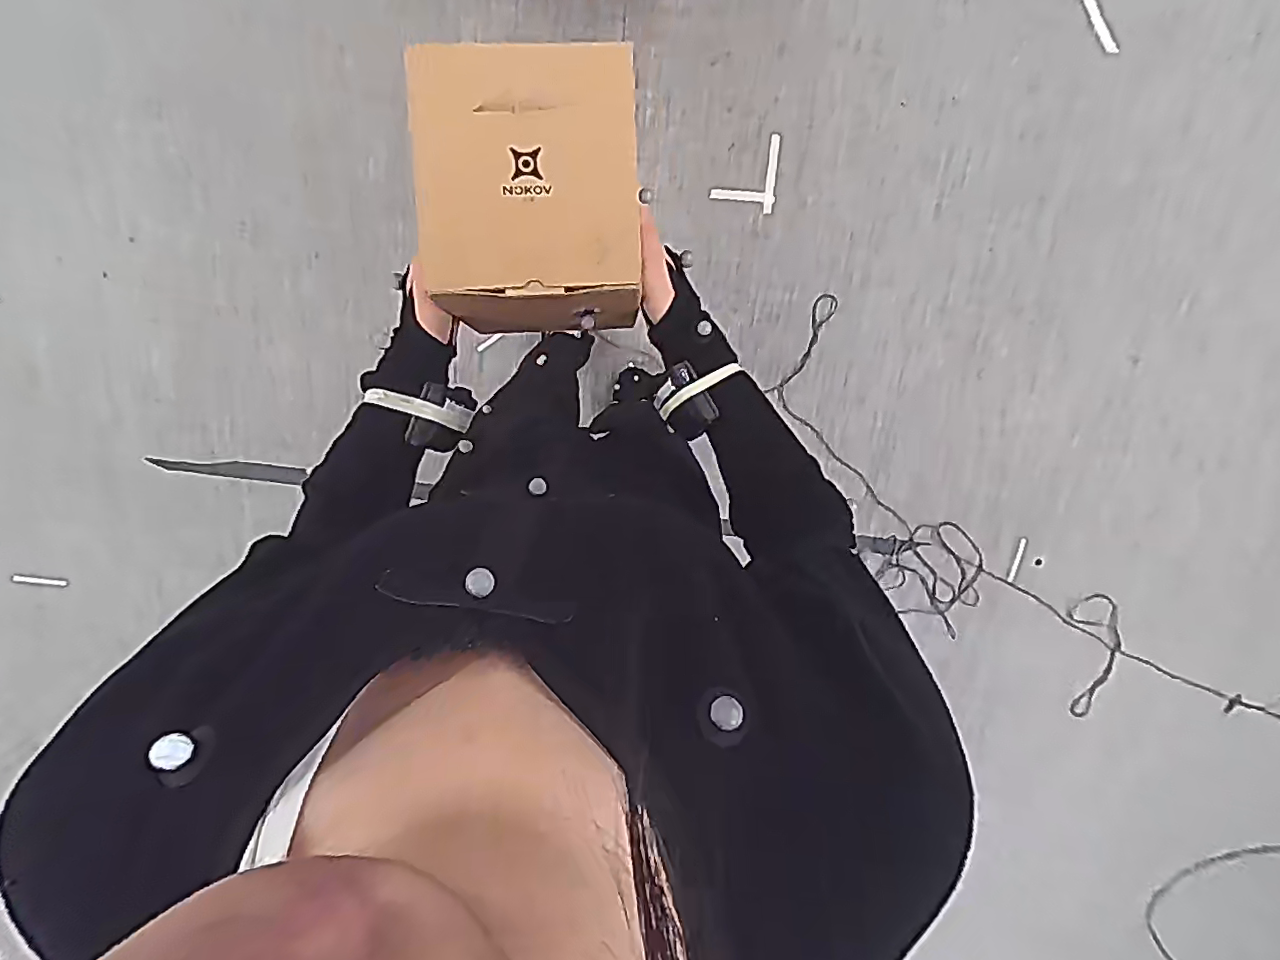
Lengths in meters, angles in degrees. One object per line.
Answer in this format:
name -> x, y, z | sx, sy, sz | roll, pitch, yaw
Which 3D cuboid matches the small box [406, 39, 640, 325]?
small box -> -0.087, -0.238, 0.476 | 0.168, 0.176, 0.179 | -3, 94, -4
